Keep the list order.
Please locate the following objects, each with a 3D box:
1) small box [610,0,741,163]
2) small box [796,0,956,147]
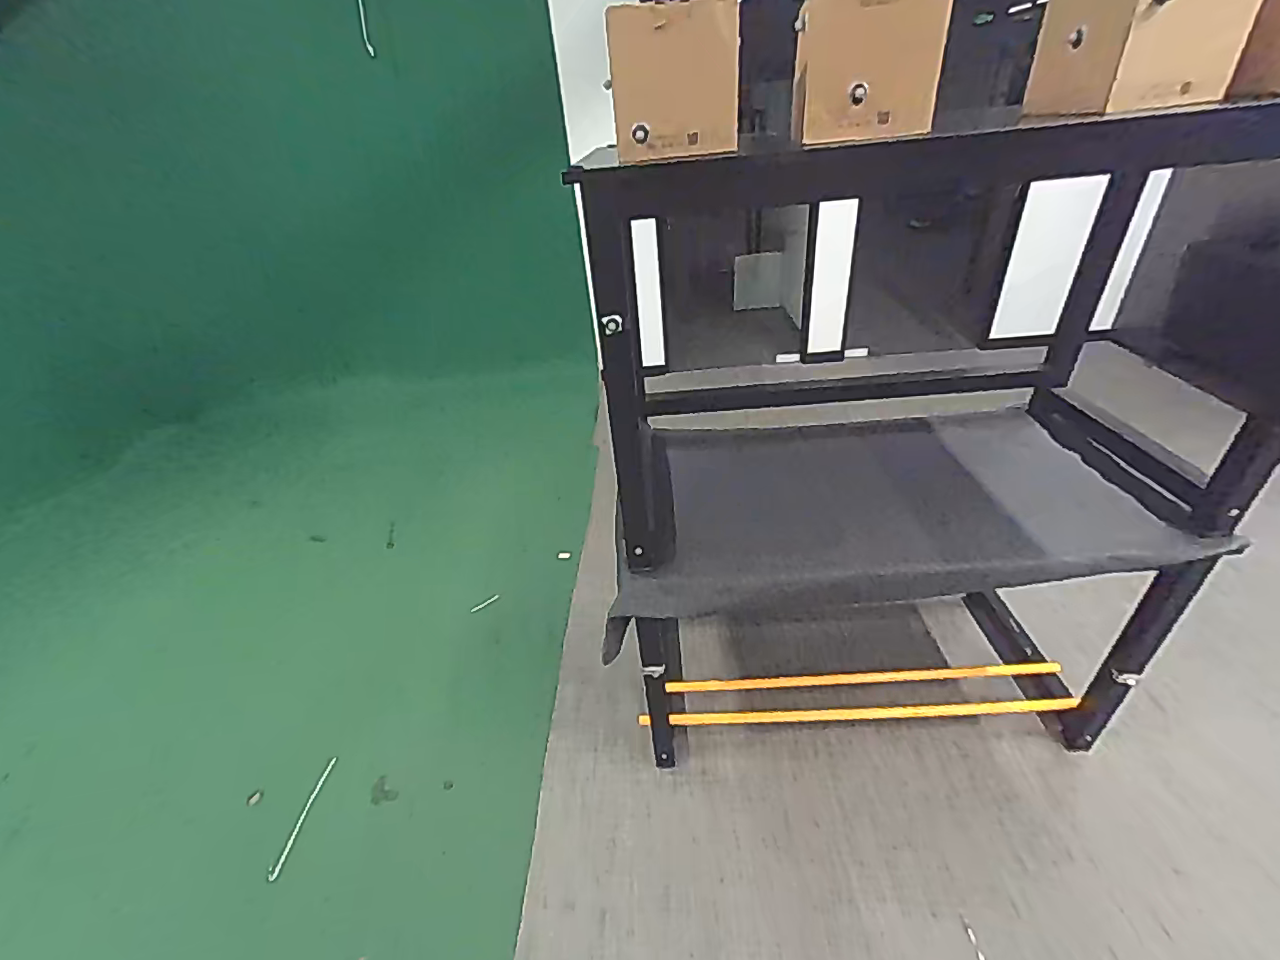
[{"bbox_3d":[0.051,-0.558,0.773,0.168,0.176,0.179,-3,32,2],"label":"small box"},{"bbox_3d":[0.315,-0.572,0.760,0.168,0.176,0.179,1,34,10],"label":"small box"}]
